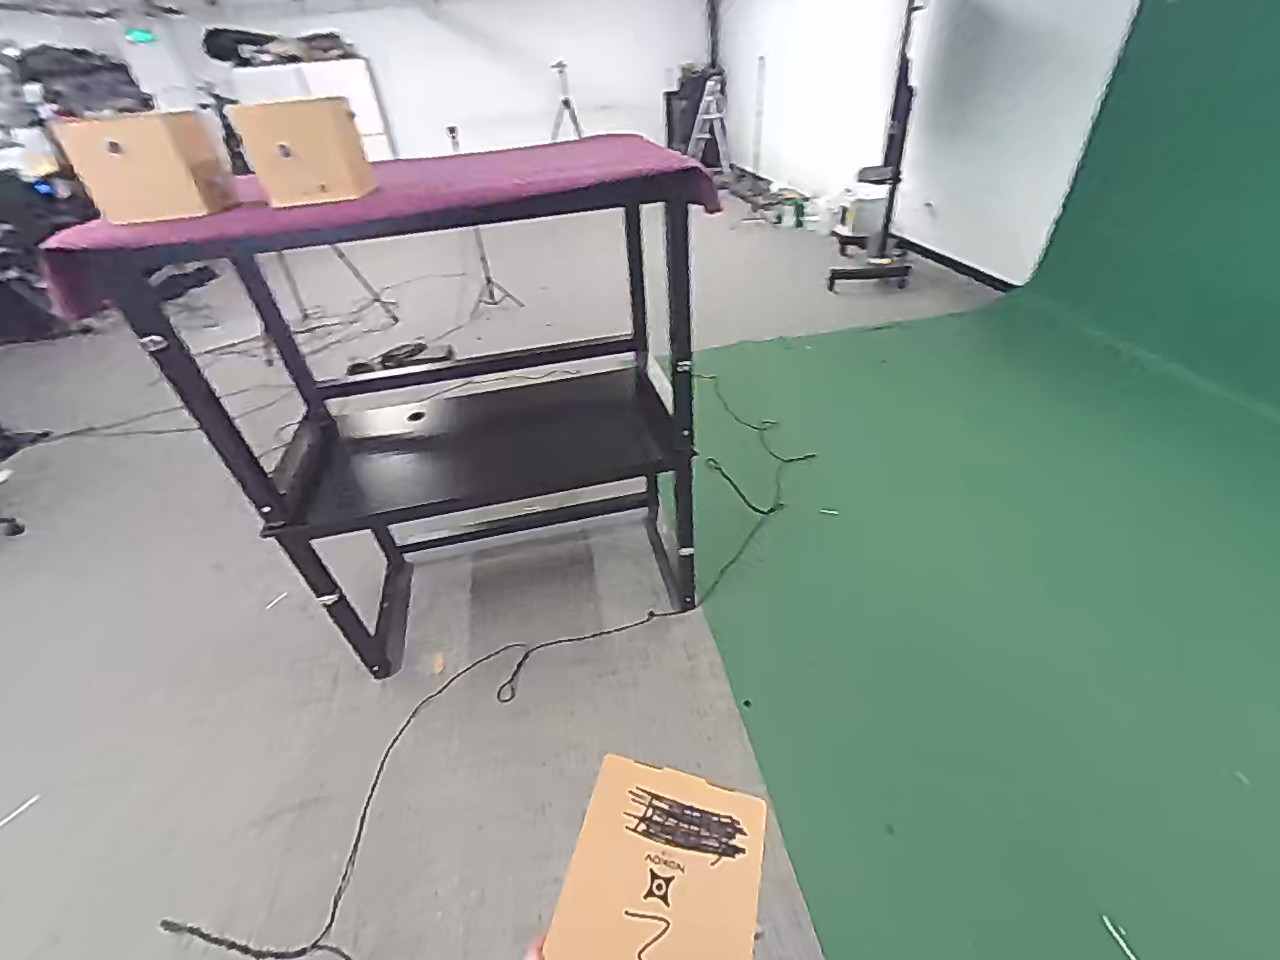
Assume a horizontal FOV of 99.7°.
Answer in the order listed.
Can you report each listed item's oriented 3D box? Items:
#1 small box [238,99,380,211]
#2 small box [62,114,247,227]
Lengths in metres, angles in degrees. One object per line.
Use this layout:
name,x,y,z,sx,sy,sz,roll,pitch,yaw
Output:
small box,-0.641,-0.644,1.076,0.168,0.176,0.179,-10,36,-6
small box,-0.919,-0.599,1.046,0.179,0.176,0.168,-10,37,-7
